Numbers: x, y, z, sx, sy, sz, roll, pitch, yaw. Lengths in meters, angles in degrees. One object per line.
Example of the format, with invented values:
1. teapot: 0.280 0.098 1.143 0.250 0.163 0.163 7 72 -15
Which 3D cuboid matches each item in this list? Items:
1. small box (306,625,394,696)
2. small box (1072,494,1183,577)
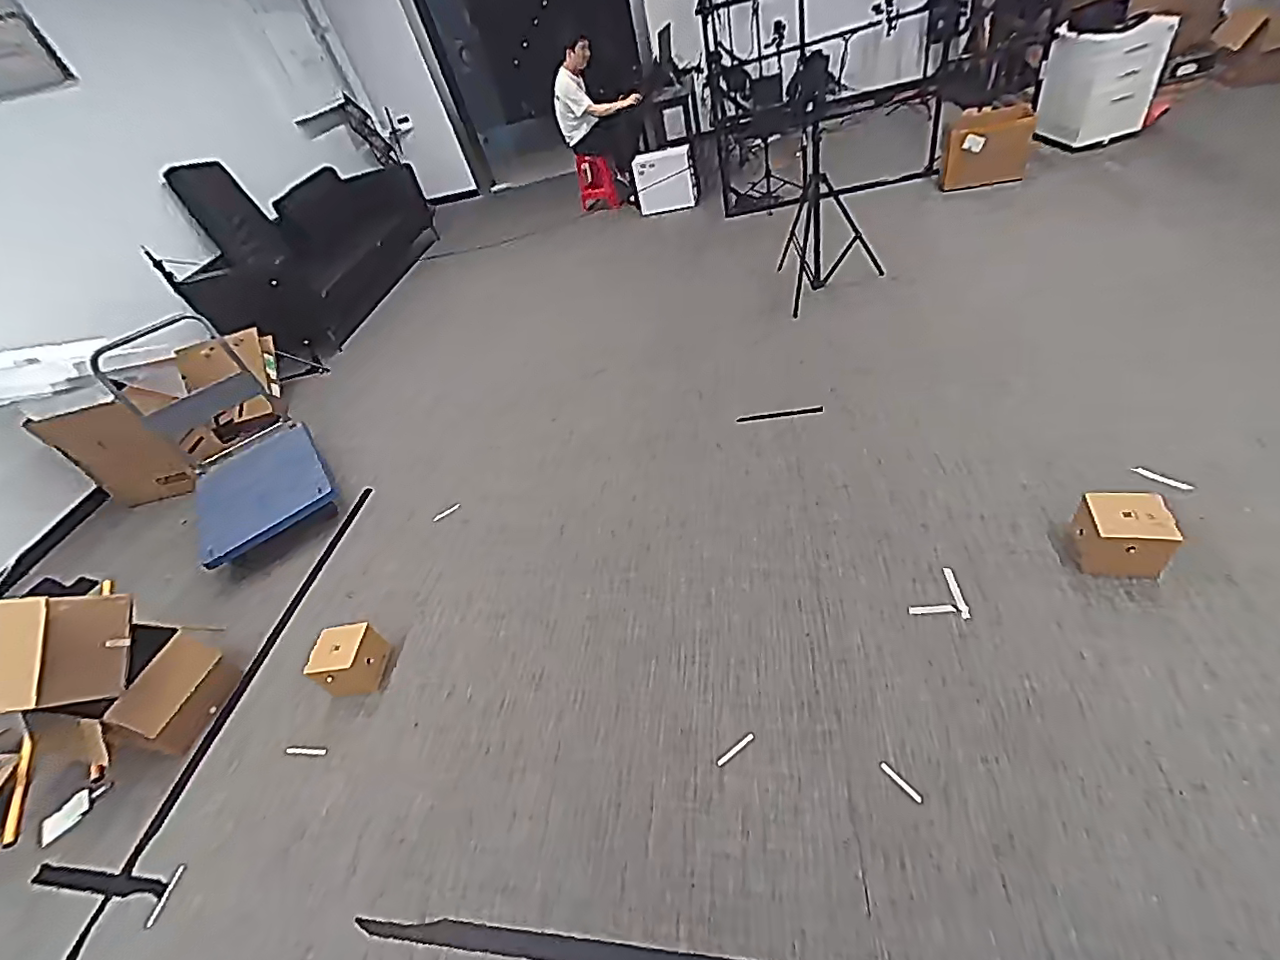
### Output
1. small box: -0.979 0.619 1.844 0.179 0.176 0.168 -11 43 9
2. small box: 1.349 0.156 1.516 0.179 0.176 0.168 1 46 20
